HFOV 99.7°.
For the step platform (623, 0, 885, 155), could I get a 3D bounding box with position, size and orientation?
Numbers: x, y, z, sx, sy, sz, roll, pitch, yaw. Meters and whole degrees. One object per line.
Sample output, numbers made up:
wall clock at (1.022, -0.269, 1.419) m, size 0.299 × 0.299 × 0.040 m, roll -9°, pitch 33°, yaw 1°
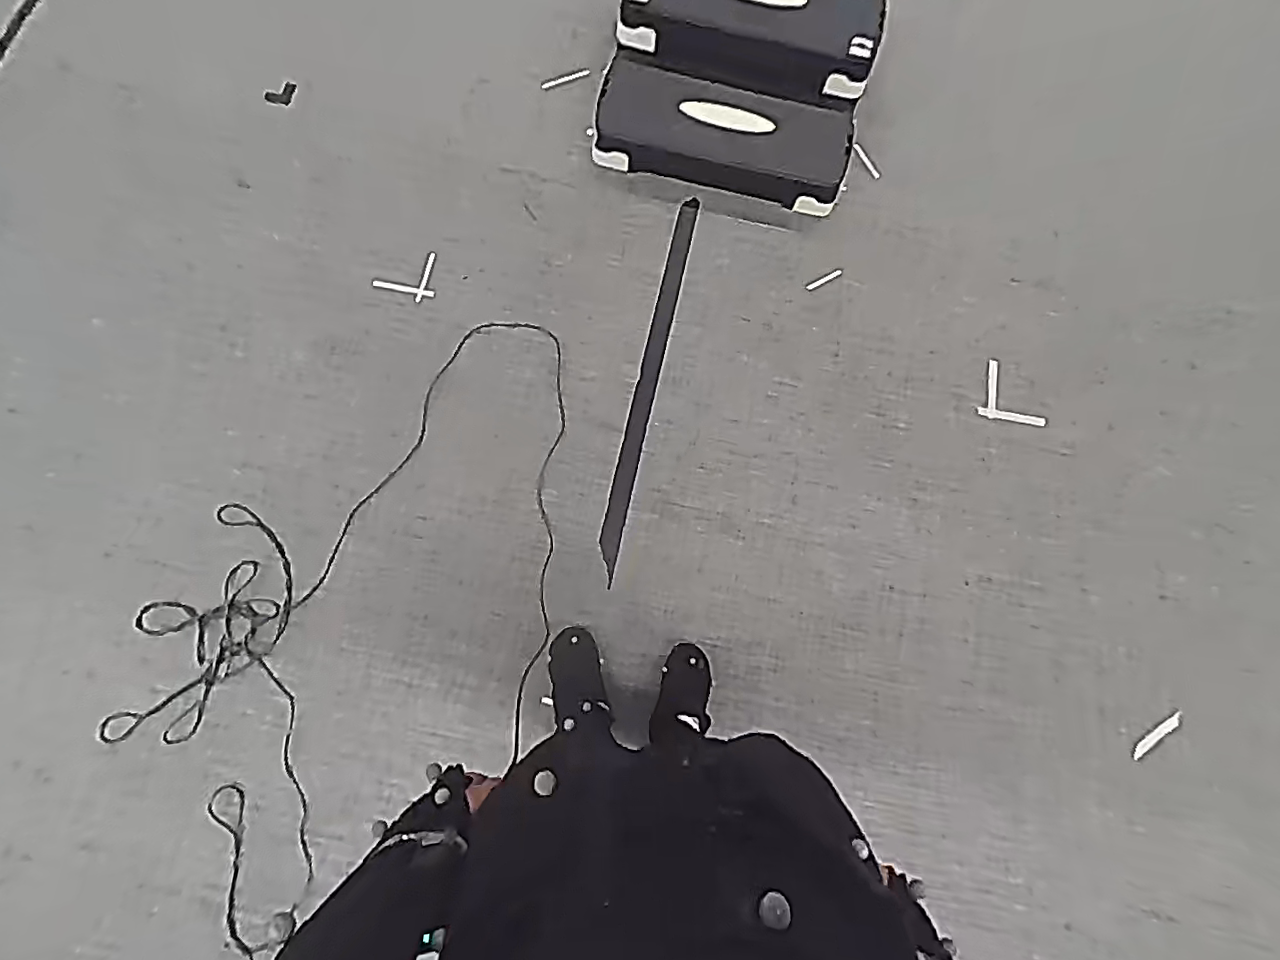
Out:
step platform at (0.302, -1.156, 1.482) m, size 0.684 × 0.204 × 0.286 m, roll 17°, pitch 77°, yaw 0°
